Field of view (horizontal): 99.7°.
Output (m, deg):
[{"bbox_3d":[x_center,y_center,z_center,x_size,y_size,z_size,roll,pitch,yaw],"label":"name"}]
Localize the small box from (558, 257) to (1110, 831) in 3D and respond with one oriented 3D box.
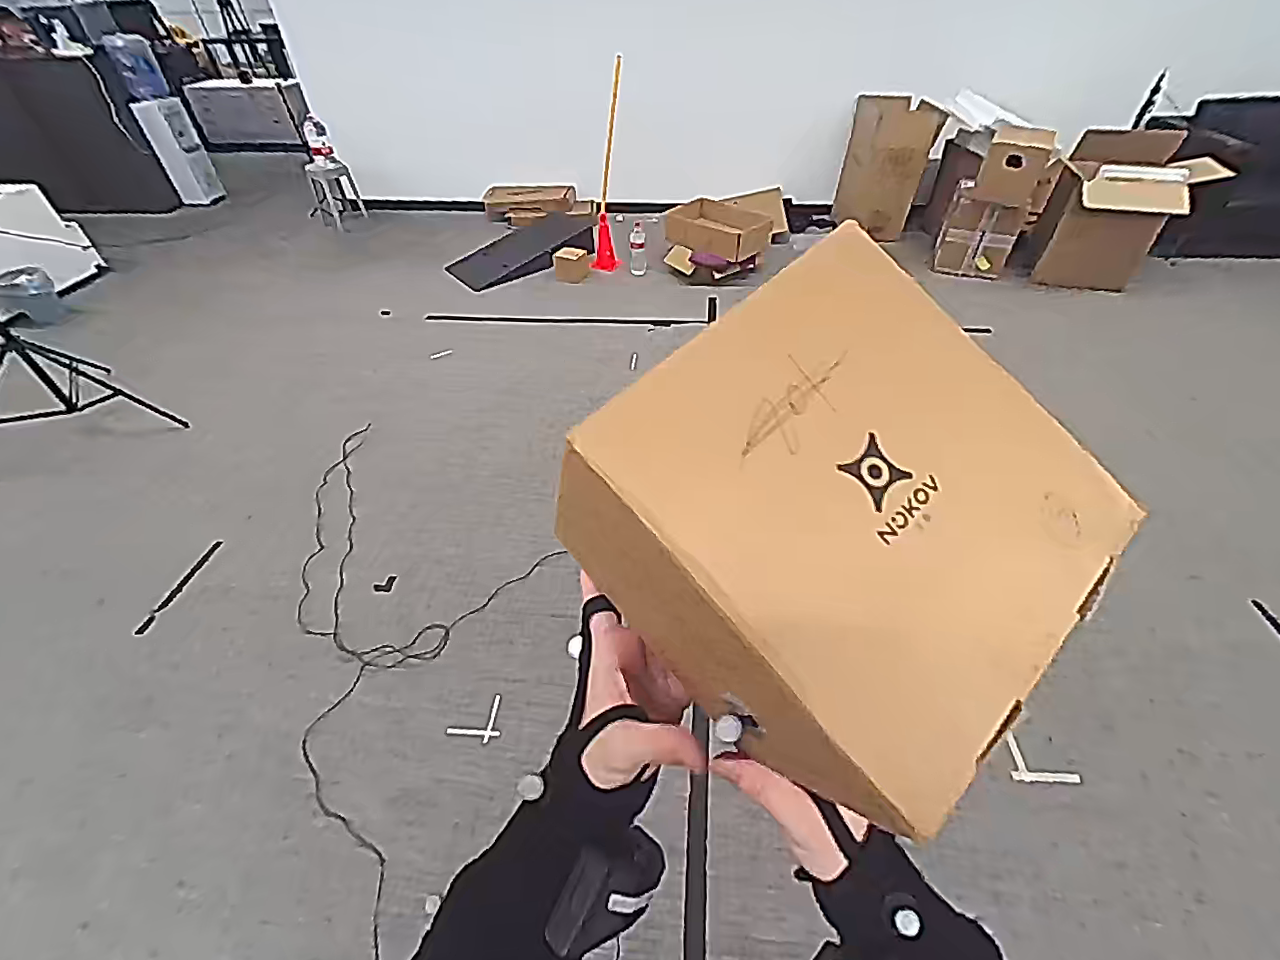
[{"bbox_3d":[0.073,0.031,0.290,0.168,0.176,0.179,-41,84,-20],"label":"small box"}]
